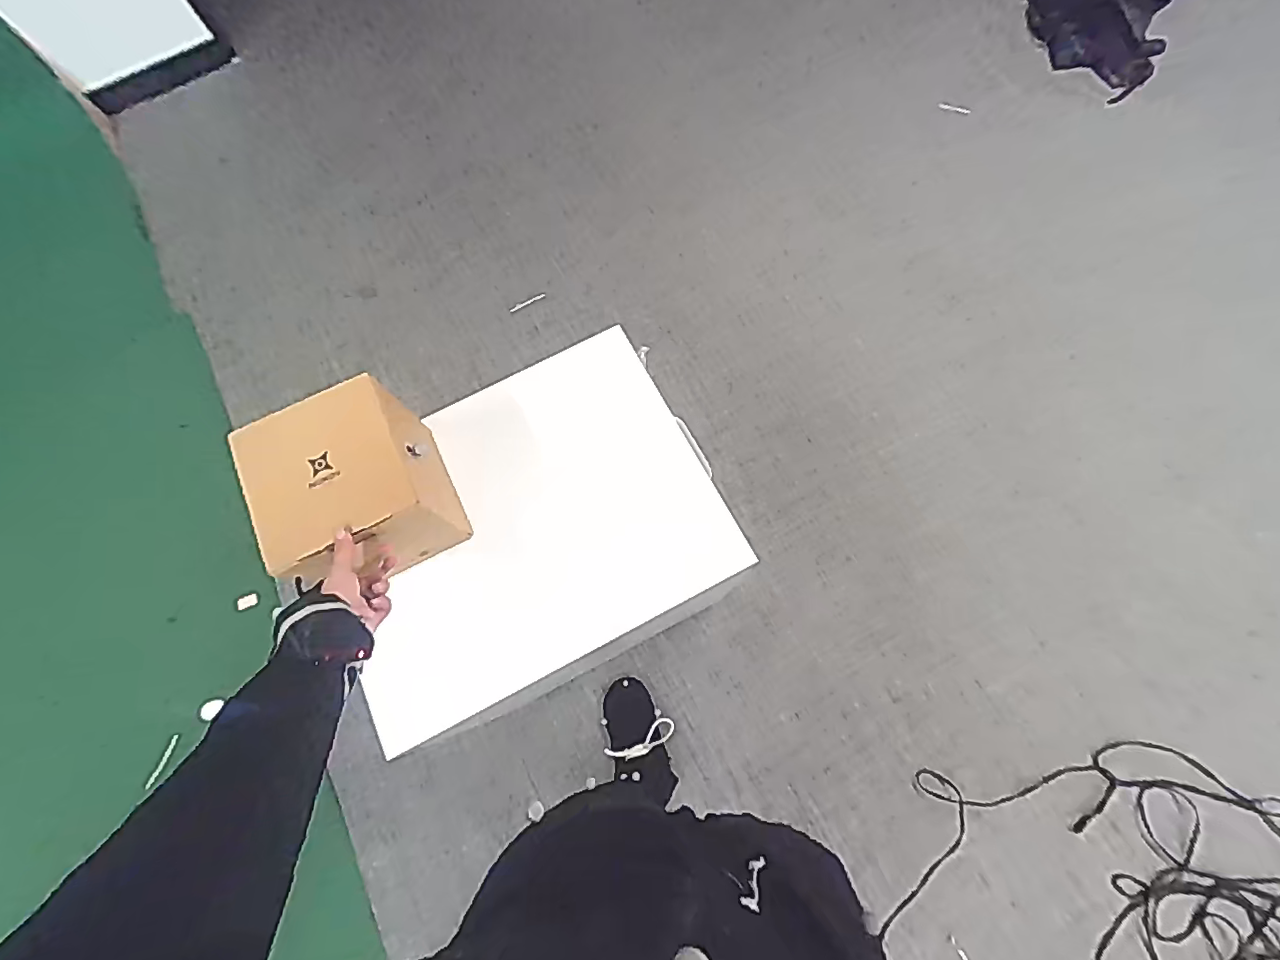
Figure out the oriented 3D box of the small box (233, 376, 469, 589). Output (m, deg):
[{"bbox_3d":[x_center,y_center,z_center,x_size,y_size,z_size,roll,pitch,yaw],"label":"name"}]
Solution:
[{"bbox_3d":[-0.332,0.013,0.649,0.168,0.176,0.179,-26,74,-6],"label":"small box"}]
